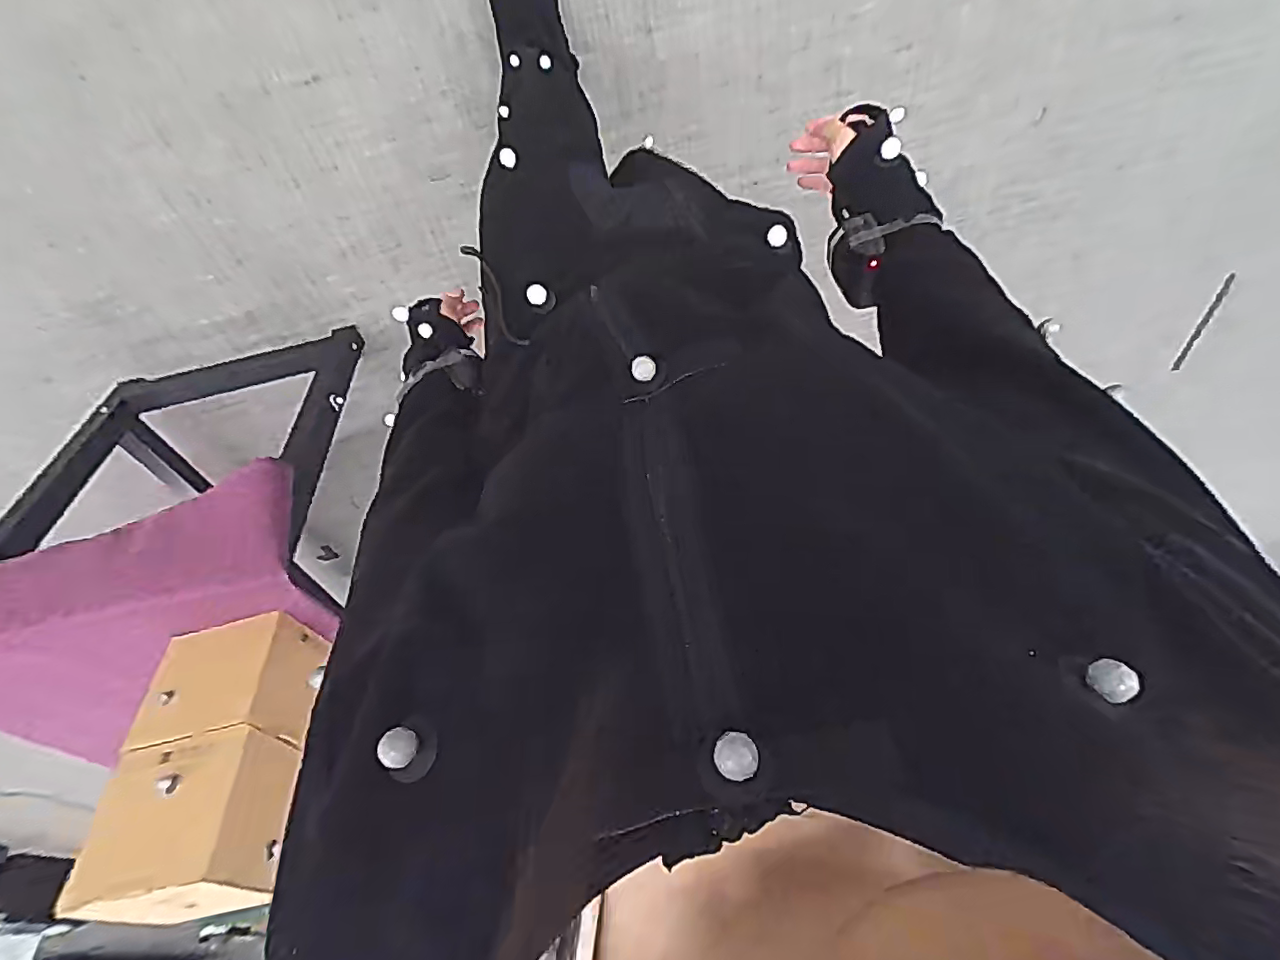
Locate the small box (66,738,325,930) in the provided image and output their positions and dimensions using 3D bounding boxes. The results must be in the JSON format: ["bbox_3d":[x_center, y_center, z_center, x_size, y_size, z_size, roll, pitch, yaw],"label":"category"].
[{"bbox_3d":[-0.545,0.457,0.702,0.168,0.176,0.179,-12,137,-2],"label":"small box"}]
